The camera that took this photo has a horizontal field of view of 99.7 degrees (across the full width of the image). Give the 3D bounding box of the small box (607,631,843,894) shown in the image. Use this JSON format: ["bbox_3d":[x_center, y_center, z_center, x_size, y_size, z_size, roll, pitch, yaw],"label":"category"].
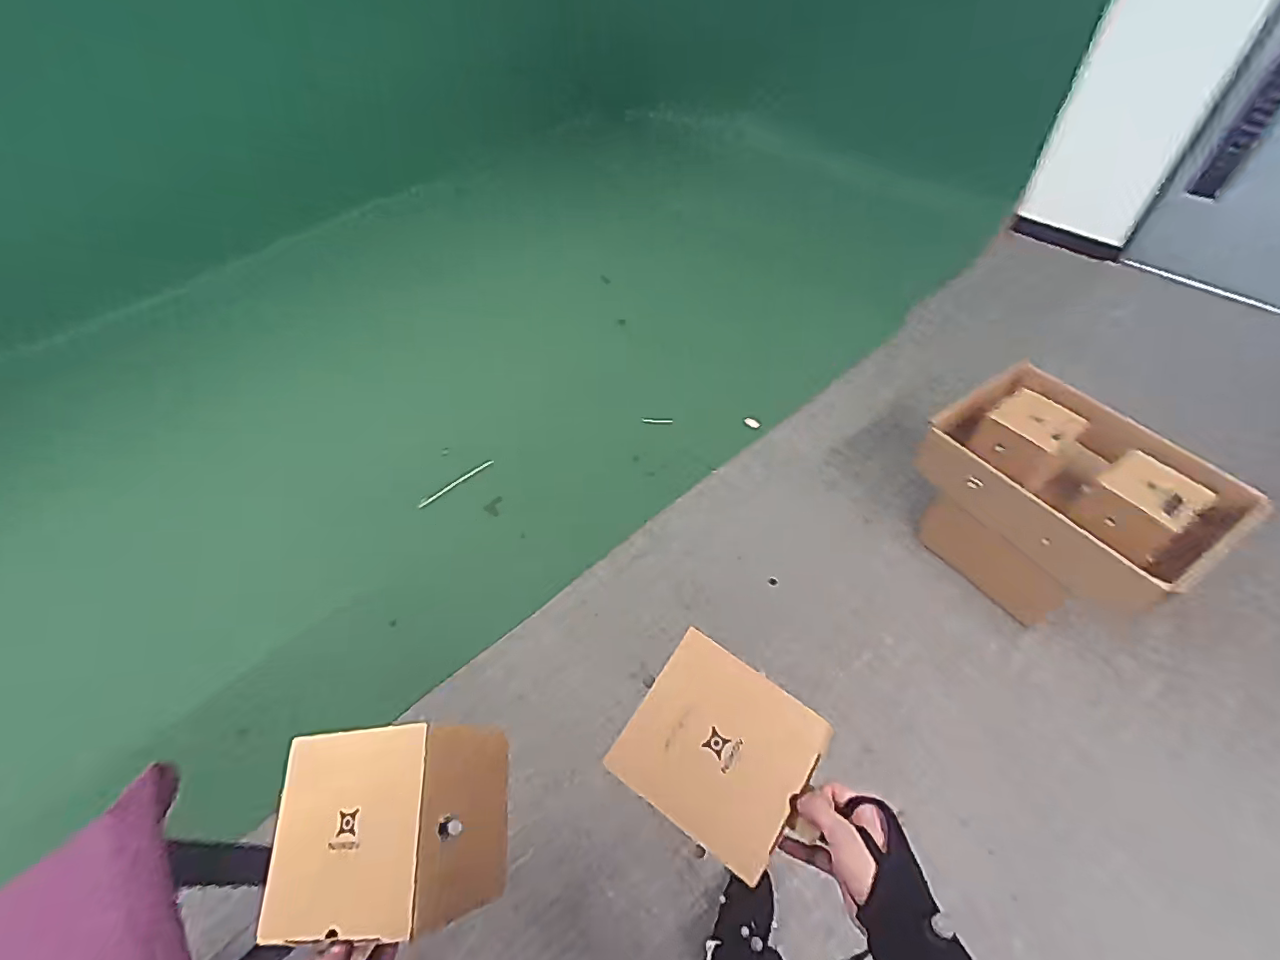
[{"bbox_3d":[0.084,0.296,0.597,0.179,0.176,0.168,34,69,15],"label":"small box"}]

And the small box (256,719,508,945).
[{"bbox_3d":[-0.253,0.361,0.578,0.168,0.176,0.179,-11,63,12],"label":"small box"}]

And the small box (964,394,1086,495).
[{"bbox_3d":[1.010,-0.092,1.437,0.168,0.176,0.179,-32,55,-17],"label":"small box"}]
